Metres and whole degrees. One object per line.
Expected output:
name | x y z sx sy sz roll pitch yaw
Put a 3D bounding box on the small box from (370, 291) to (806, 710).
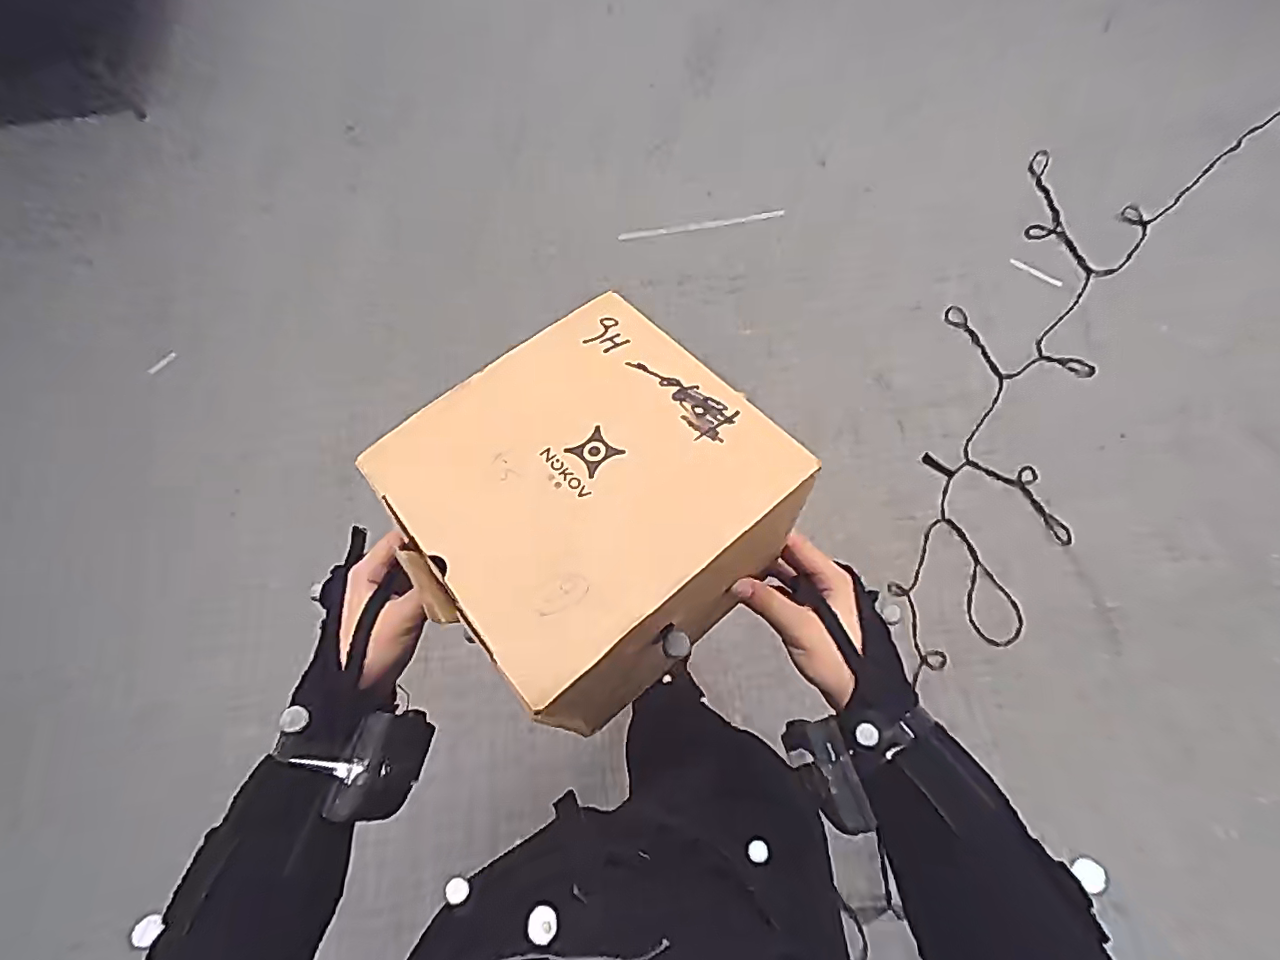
small box | -0.024 0.024 0.350 0.179 0.176 0.168 -38 66 -14
